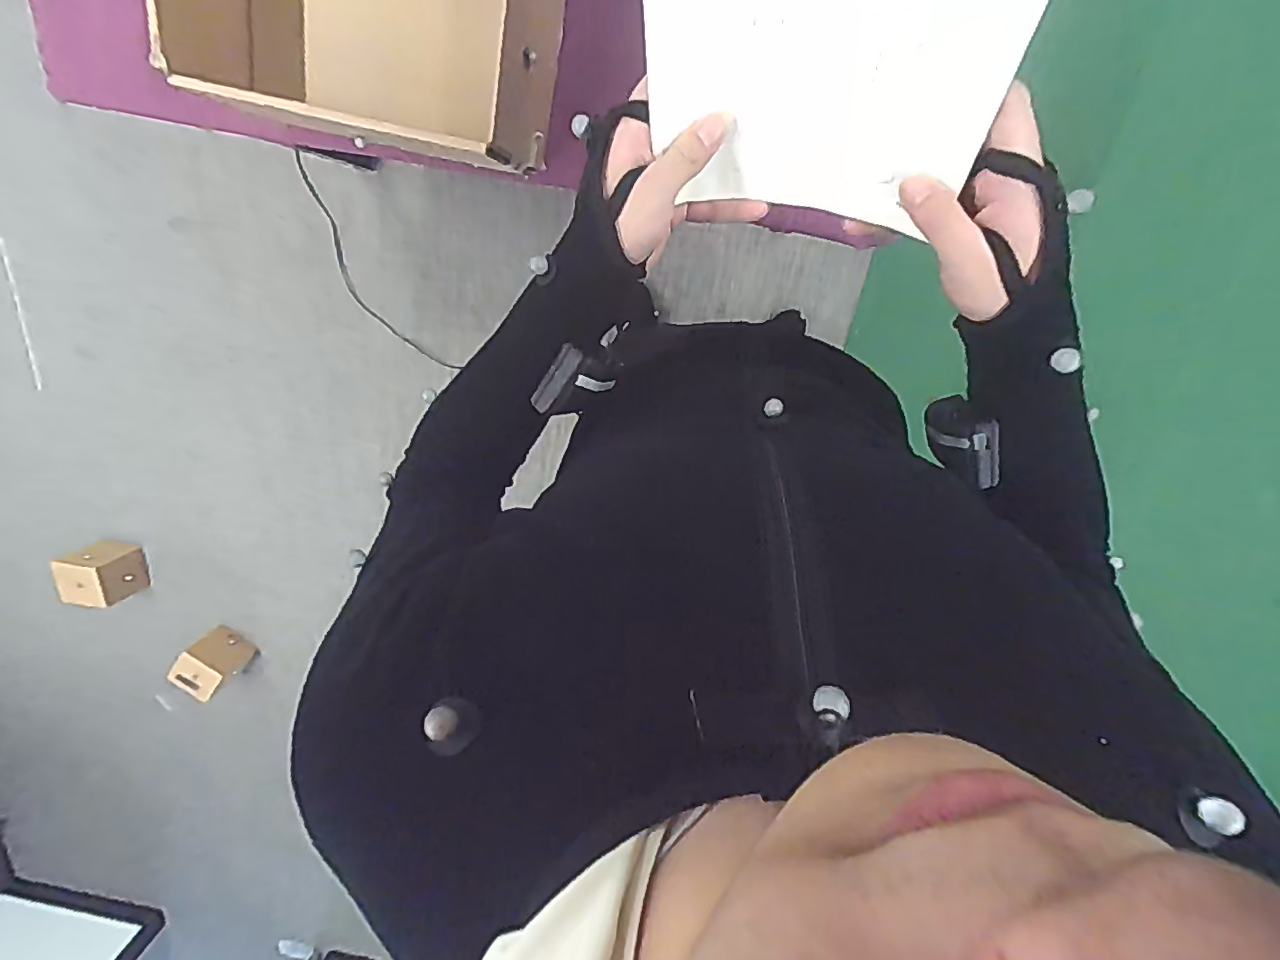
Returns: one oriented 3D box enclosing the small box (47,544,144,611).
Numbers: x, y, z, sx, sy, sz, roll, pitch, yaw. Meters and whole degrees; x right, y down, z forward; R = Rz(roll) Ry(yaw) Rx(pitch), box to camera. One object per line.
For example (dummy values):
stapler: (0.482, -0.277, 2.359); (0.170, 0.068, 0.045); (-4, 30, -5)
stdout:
small box: (-1.935, 0.345, 1.937); (0.179, 0.176, 0.168); (8, 110, 3)
